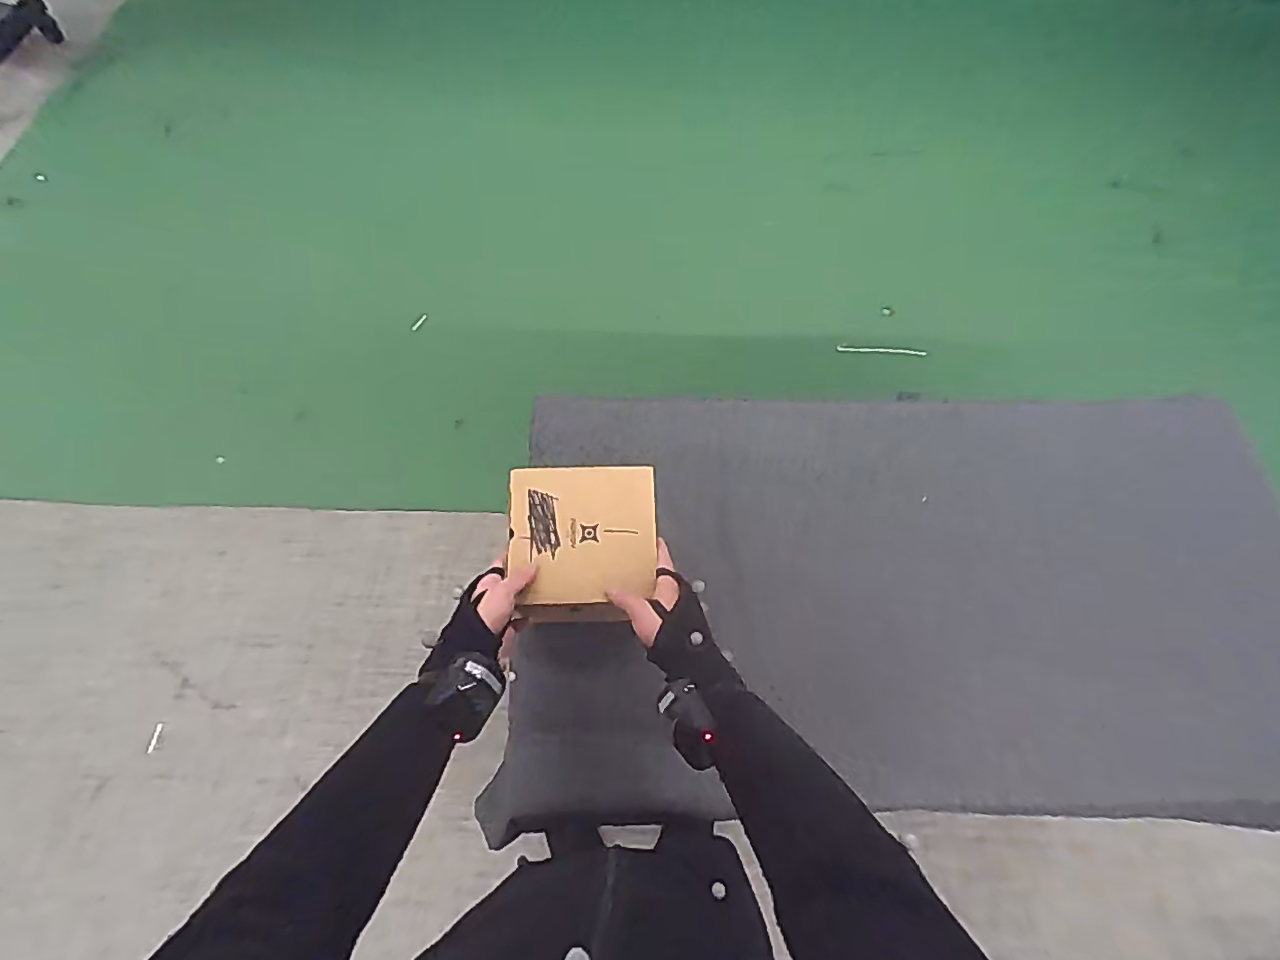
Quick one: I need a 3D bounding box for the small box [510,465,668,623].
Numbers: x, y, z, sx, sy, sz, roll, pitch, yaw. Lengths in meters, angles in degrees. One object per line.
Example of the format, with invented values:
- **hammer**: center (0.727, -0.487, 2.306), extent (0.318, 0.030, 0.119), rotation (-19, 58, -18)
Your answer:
- **small box**: center (-0.064, 0.089, 0.694), extent (0.179, 0.176, 0.168), rotation (0, 68, -6)
